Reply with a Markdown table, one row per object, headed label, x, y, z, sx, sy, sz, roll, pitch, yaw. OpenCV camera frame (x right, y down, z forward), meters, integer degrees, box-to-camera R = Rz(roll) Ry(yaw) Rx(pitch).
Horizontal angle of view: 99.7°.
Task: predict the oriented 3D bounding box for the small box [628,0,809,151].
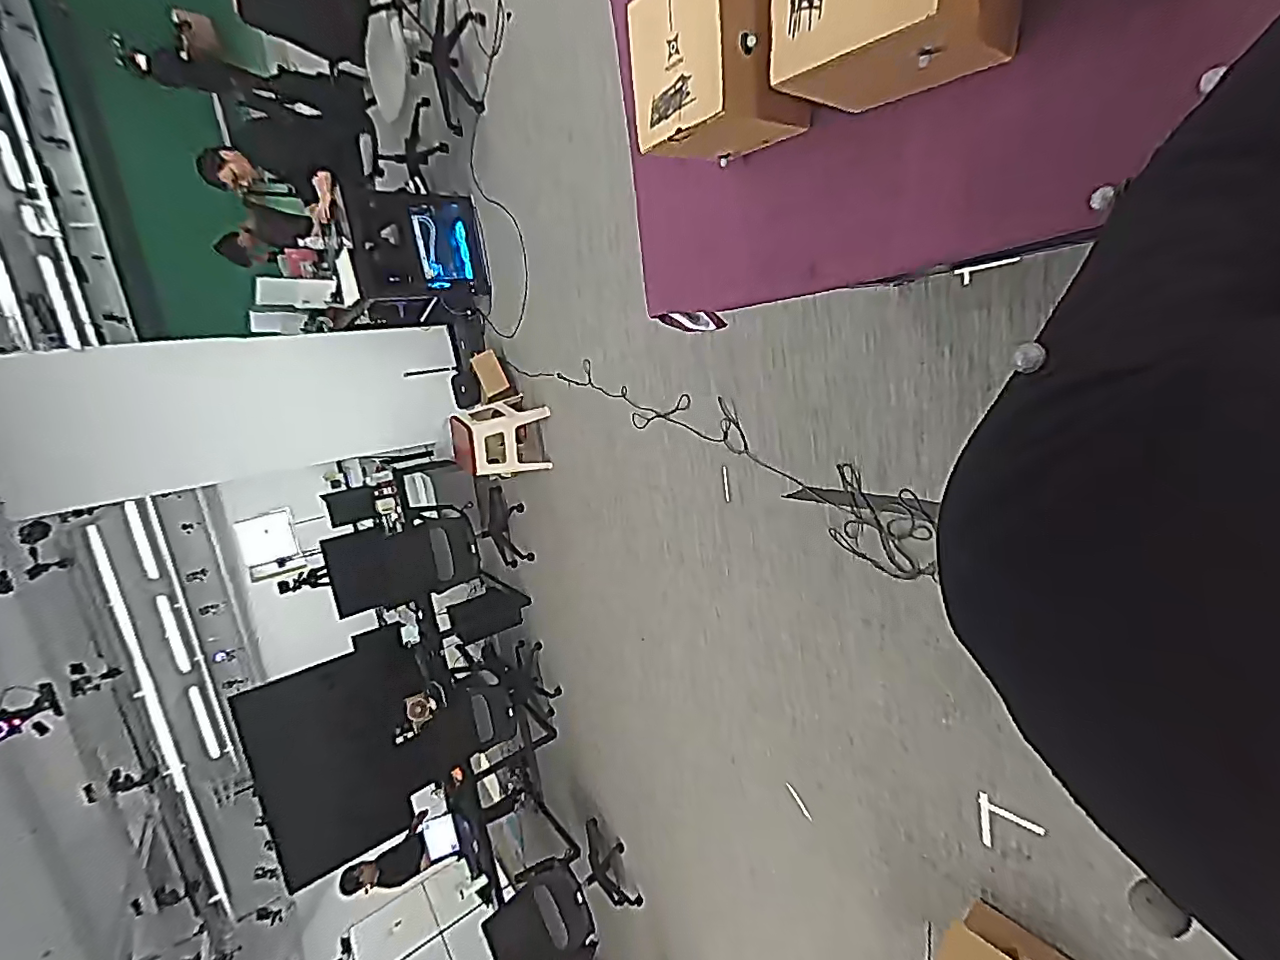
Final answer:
| label | x | y | z | sx | sy | sz | roll | pitch | yaw |
| --- | --- | --- | --- | --- | --- | --- | --- | --- | --- |
| small box | 0.105 | -0.551 | 0.711 | 0.168 | 0.176 | 0.179 | 16 | 117 | 51 |
